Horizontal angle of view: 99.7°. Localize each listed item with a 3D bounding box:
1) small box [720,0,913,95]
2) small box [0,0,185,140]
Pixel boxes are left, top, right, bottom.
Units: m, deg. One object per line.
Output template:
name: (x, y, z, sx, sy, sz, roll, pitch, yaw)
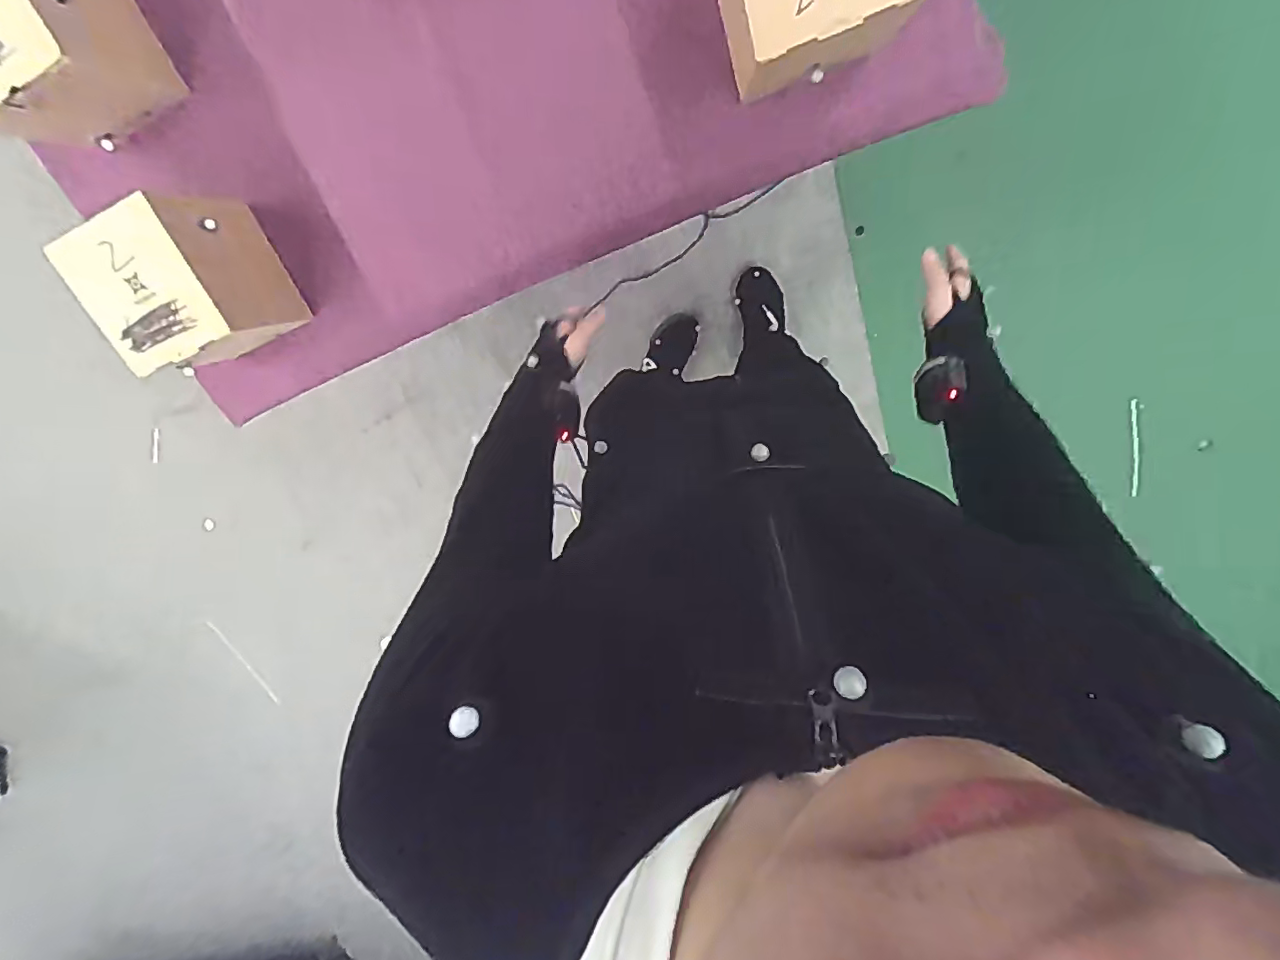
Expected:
small box: (0.170, -0.546, 0.561, 0.168, 0.176, 0.179, -15, 111, 12)
small box: (-0.710, -0.531, 0.638, 0.168, 0.176, 0.179, -20, 111, 12)
